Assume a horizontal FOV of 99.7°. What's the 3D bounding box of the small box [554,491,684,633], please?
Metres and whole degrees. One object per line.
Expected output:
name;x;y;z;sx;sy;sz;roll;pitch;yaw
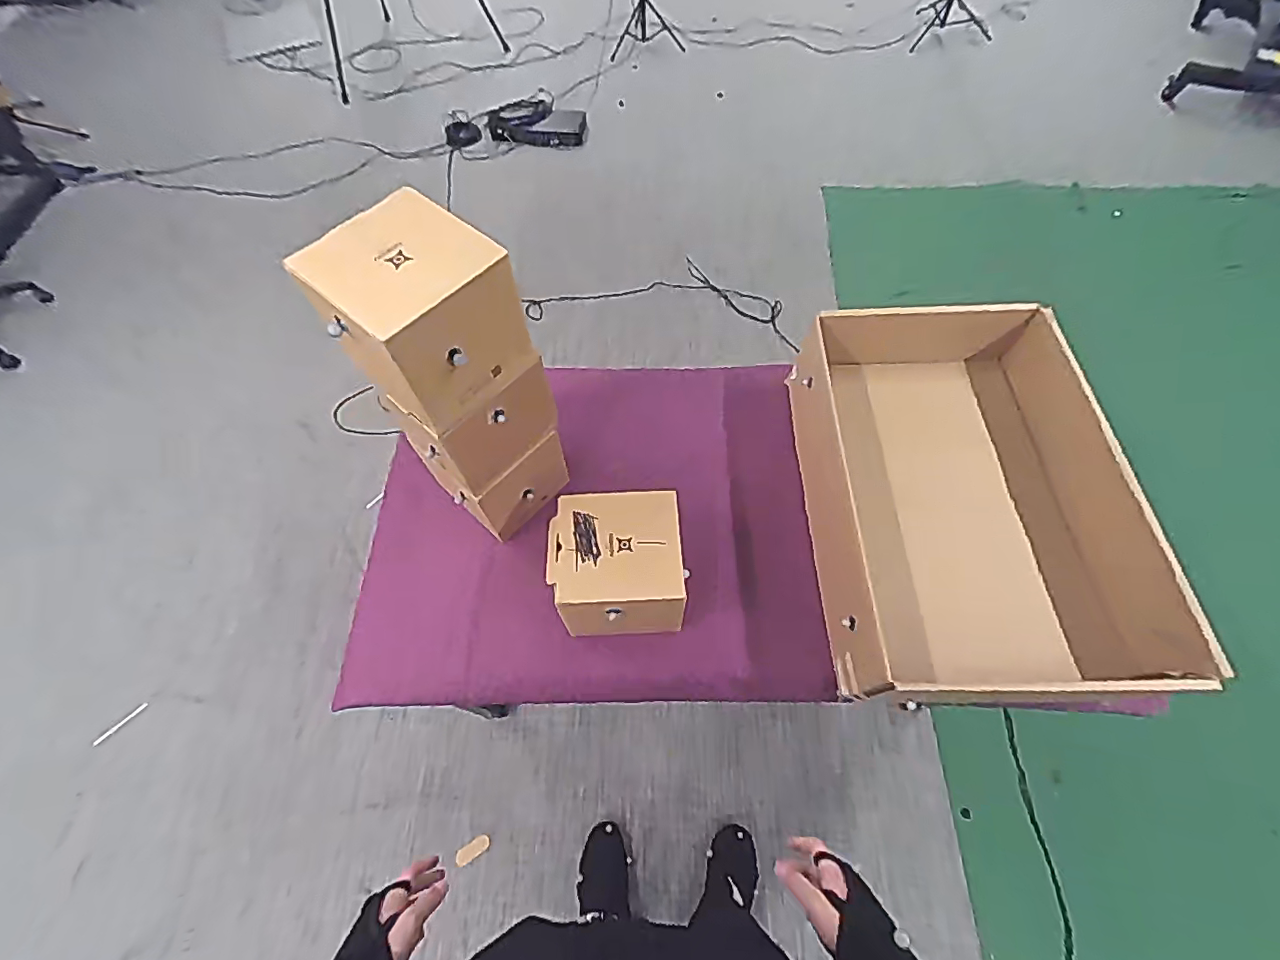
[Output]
small box;-0.027;0.130;0.822;0.179;0.176;0.168;-3;60;0

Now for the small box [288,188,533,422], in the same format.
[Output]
small box;-0.250;-0.194;0.637;0.179;0.176;0.168;37;69;18

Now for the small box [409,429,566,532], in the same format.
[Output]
small box;-0.246;-0.034;0.919;0.179;0.176;0.168;38;68;19

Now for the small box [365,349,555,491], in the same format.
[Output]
small box;-0.243;-0.116;0.778;0.168;0.176;0.179;39;69;18
